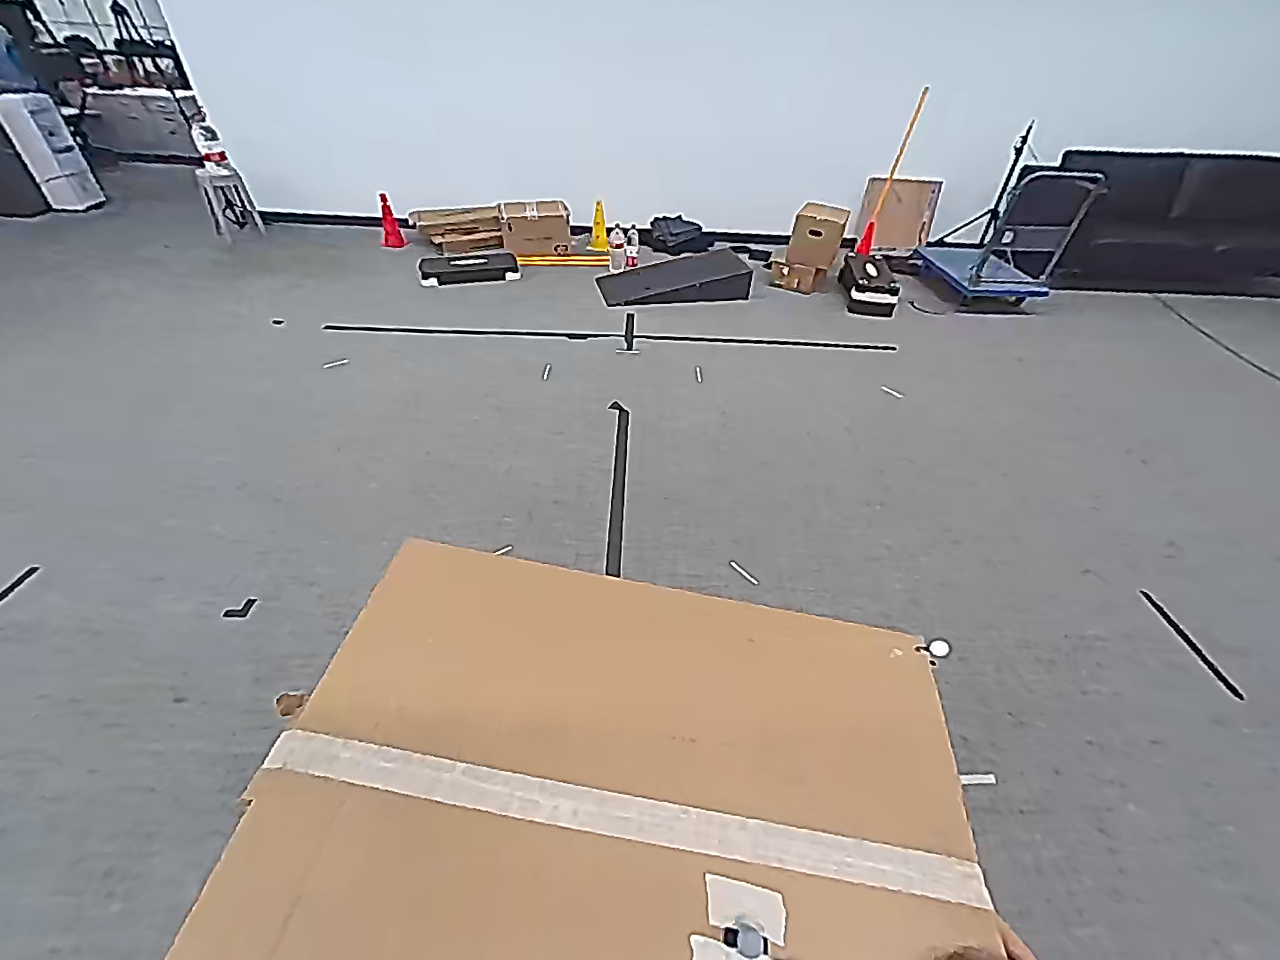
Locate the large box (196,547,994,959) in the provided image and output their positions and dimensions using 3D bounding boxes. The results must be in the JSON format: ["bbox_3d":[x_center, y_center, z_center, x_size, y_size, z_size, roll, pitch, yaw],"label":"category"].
[{"bbox_3d":[-0.020,0.297,0.424,0.408,0.320,0.320,12,47,1],"label":"large box"}]
